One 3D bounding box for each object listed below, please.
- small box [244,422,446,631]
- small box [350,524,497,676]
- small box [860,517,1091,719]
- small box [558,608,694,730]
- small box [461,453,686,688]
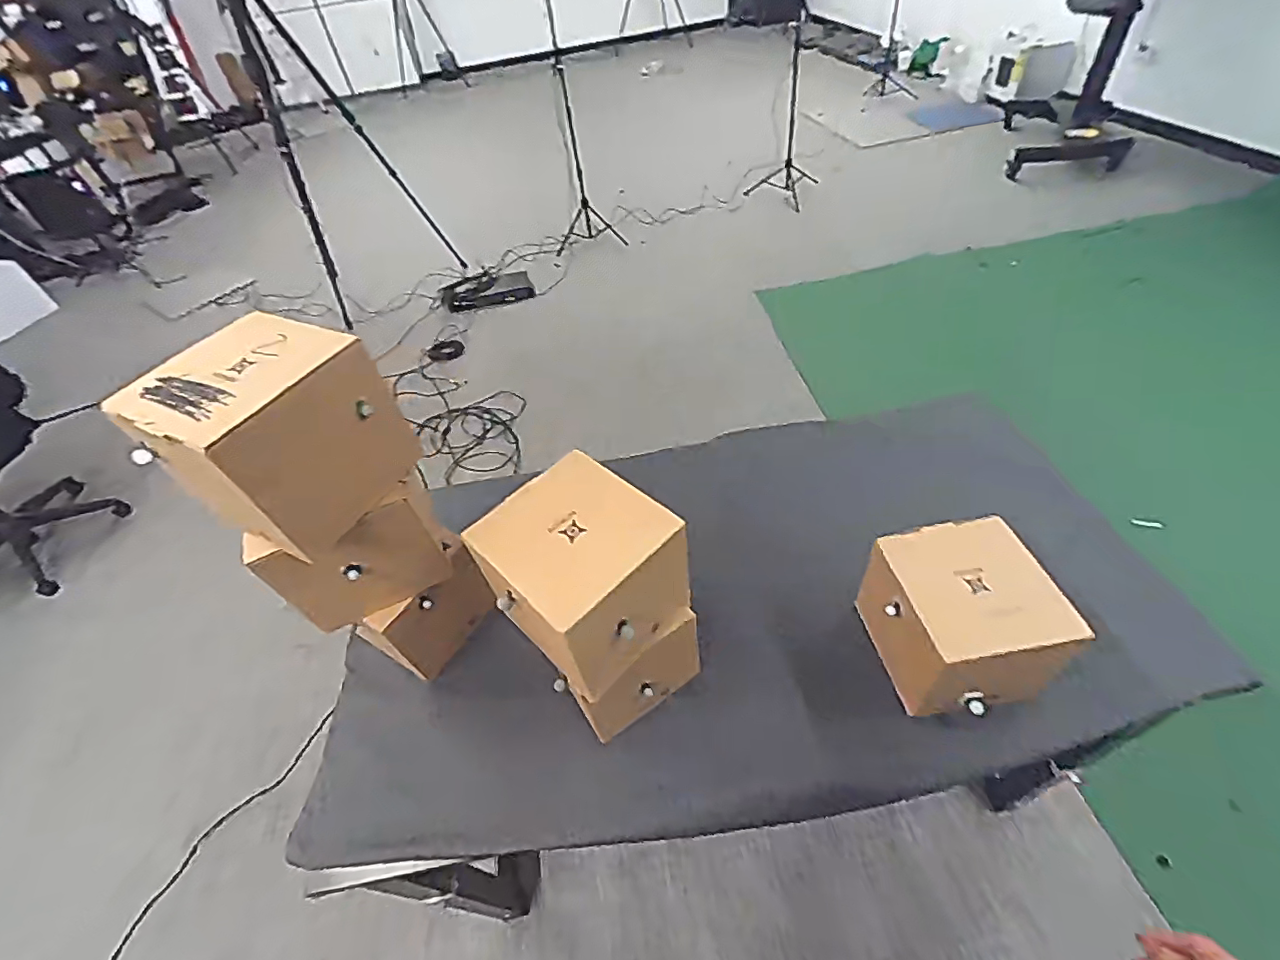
[{"bbox_3d":[-0.370,0.062,0.702,0.179,0.176,0.168,-25,50,-13],"label":"small box"},{"bbox_3d":[-0.352,0.169,0.826,0.179,0.176,0.168,20,54,25],"label":"small box"},{"bbox_3d":[0.403,0.177,0.693,0.168,0.176,0.179,-11,46,0],"label":"small box"},{"bbox_3d":[-0.039,0.211,0.736,0.168,0.176,0.179,-30,50,-18],"label":"small box"},{"bbox_3d":[-0.063,0.107,0.613,0.179,0.176,0.168,33,60,33],"label":"small box"}]
